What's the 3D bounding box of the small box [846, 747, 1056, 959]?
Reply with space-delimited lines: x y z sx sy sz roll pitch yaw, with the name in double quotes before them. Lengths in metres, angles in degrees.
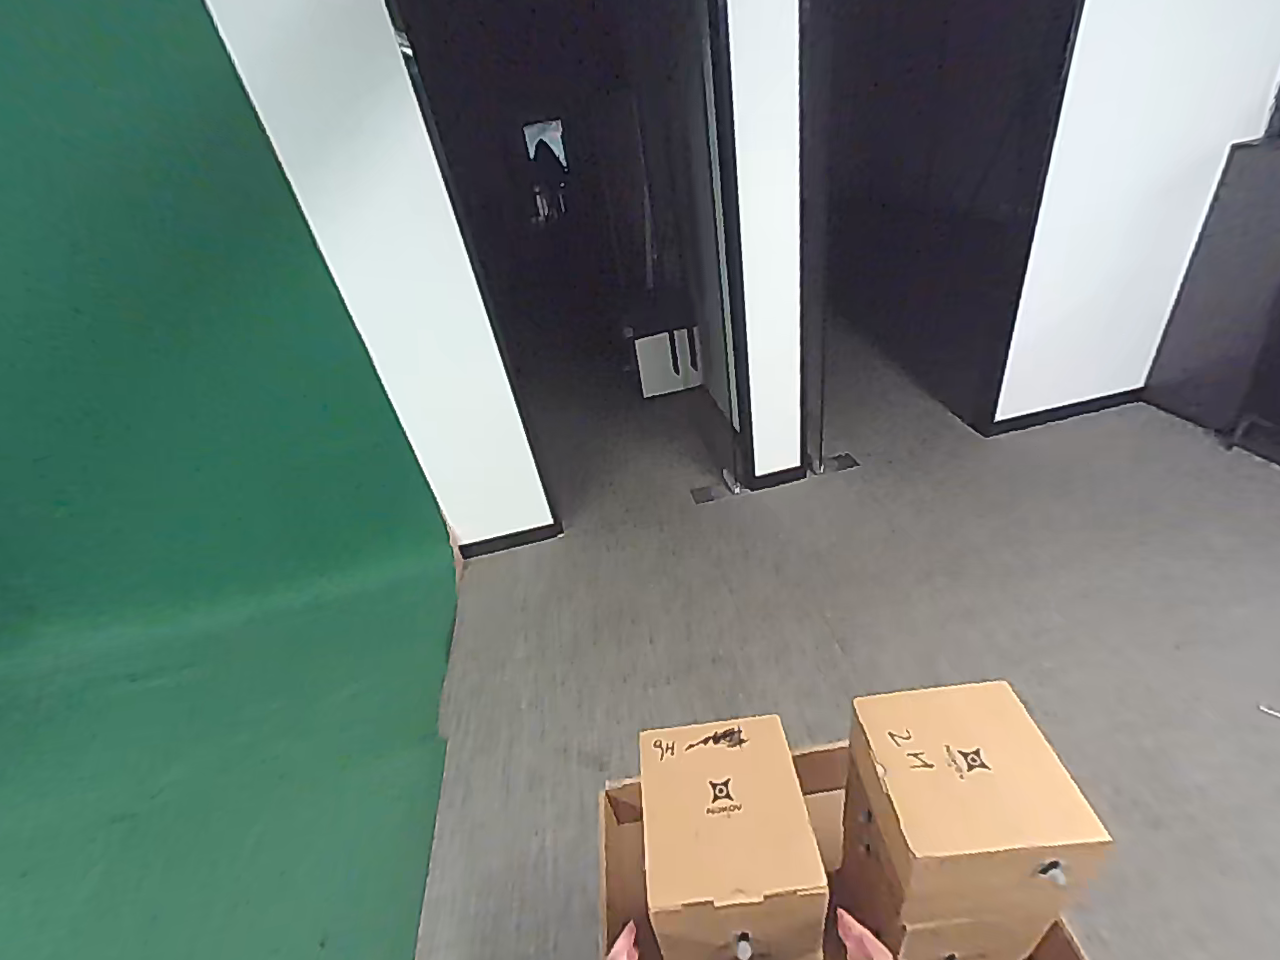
"small box" 0.372 0.478 0.690 0.168 0.176 0.179 -11 35 4
